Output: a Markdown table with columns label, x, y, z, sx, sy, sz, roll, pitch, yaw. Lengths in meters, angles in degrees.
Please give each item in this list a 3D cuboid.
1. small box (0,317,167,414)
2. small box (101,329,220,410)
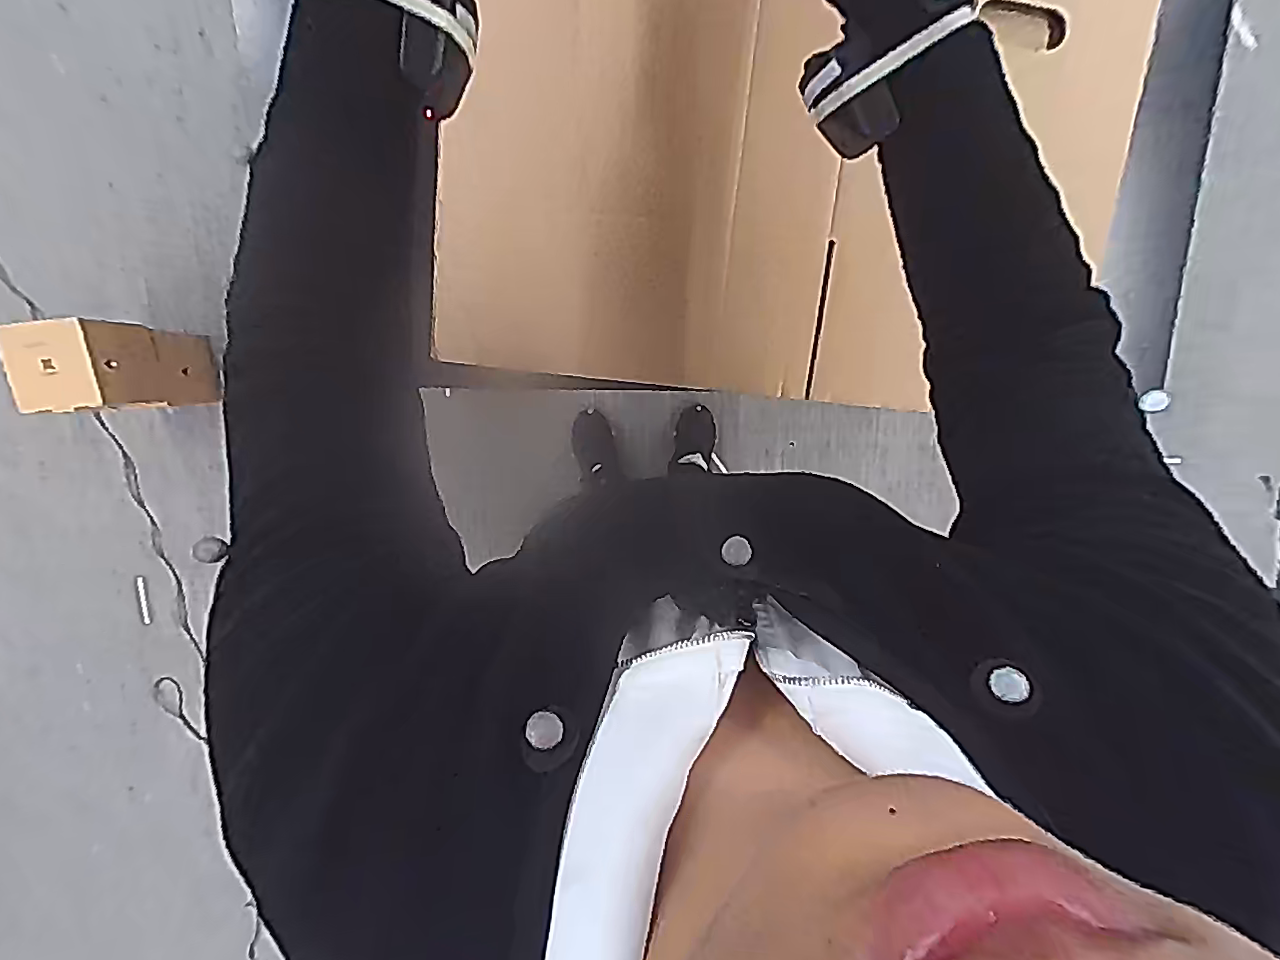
| label | x | y | z | sx | sy | sz | roll | pitch | yaw |
| --- | --- | --- | --- | --- | --- | --- | --- | --- | --- |
| small box | -1.164 | -0.241 | 1.148 | 0.168 | 0.176 | 0.179 | -7 | 101 | -2 |
| small box | -1.171 | -0.266 | 1.309 | 0.168 | 0.176 | 0.179 | -4 | 102 | -2 |
